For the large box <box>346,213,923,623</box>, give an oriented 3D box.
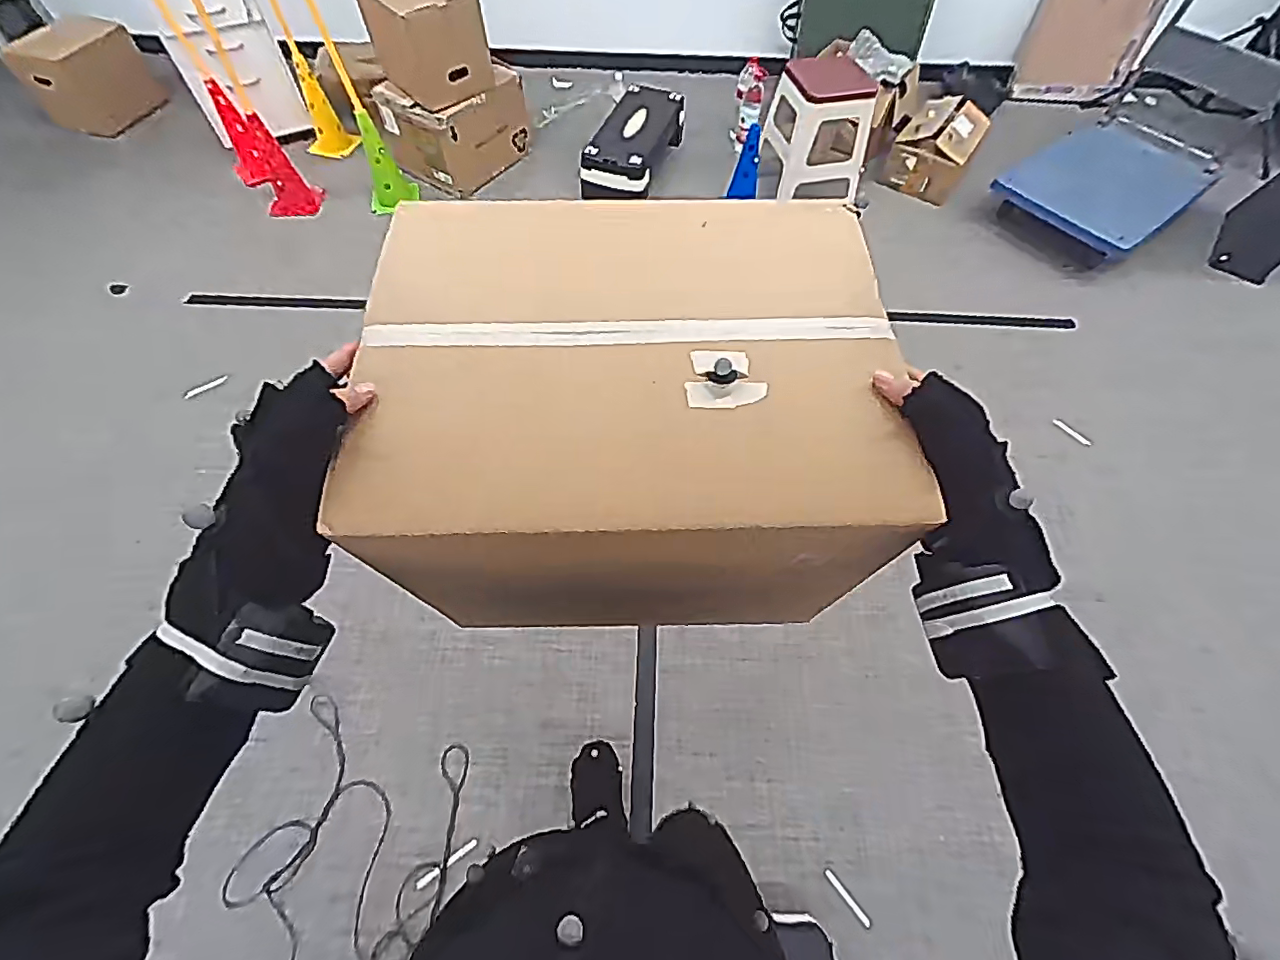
[{"bbox_3d":[-0.009,-0.043,0.565,0.408,0.320,0.320,-1,64,-1],"label":"large box"}]
